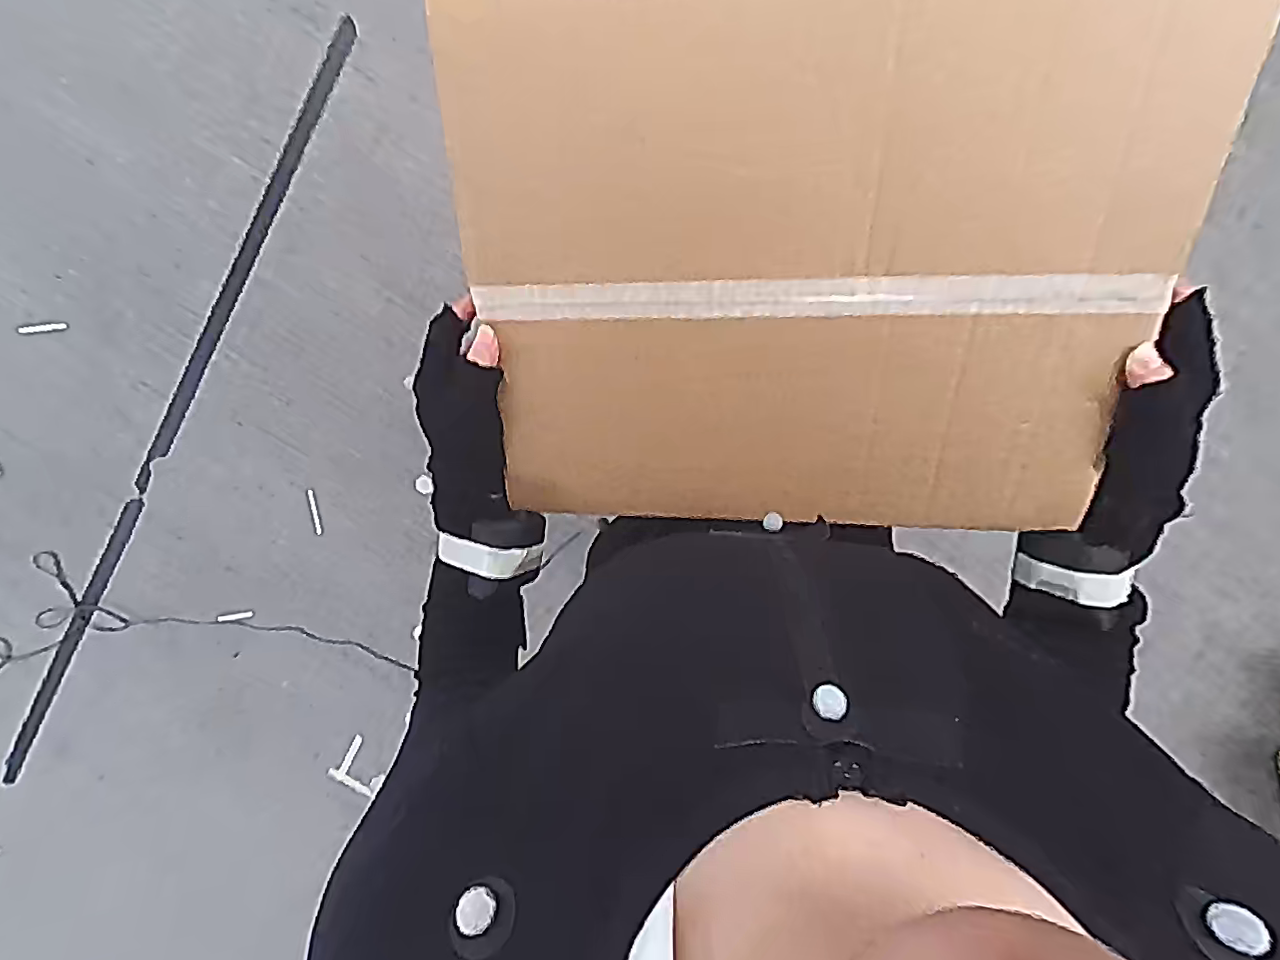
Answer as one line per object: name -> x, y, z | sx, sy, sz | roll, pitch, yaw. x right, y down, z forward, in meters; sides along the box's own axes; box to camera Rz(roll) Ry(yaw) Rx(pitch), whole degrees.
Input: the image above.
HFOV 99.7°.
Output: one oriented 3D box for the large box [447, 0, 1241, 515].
large box -> 0.109, -0.181, 0.472 | 0.408, 0.320, 0.320 | 2, 118, 6
